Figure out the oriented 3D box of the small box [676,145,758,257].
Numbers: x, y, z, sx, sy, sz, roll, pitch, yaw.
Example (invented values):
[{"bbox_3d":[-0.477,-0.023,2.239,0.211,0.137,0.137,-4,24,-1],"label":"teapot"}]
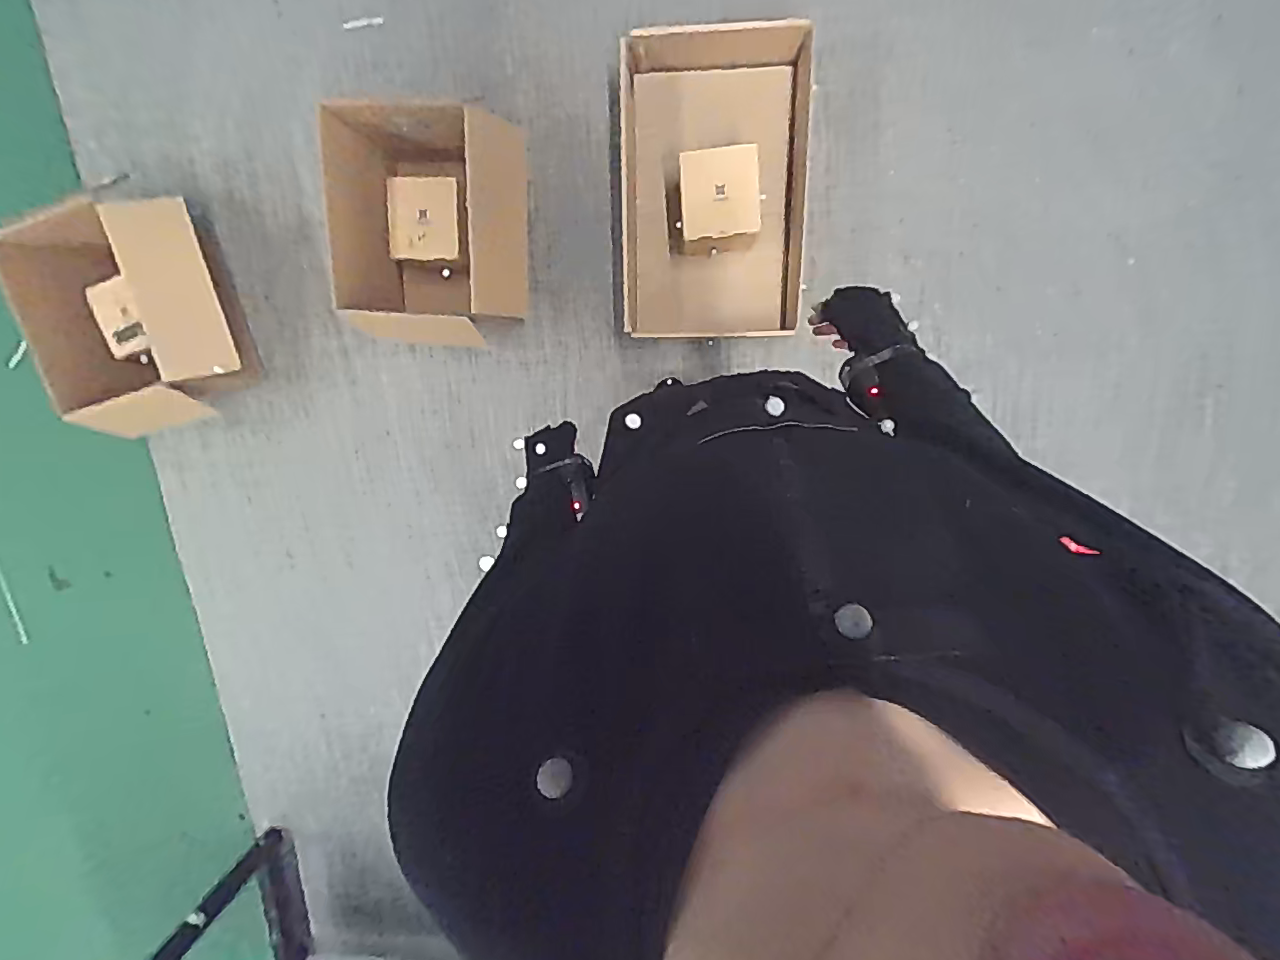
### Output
[{"bbox_3d":[0.169,-0.618,1.216,0.168,0.176,0.179,-4,101,6],"label":"small box"}]
